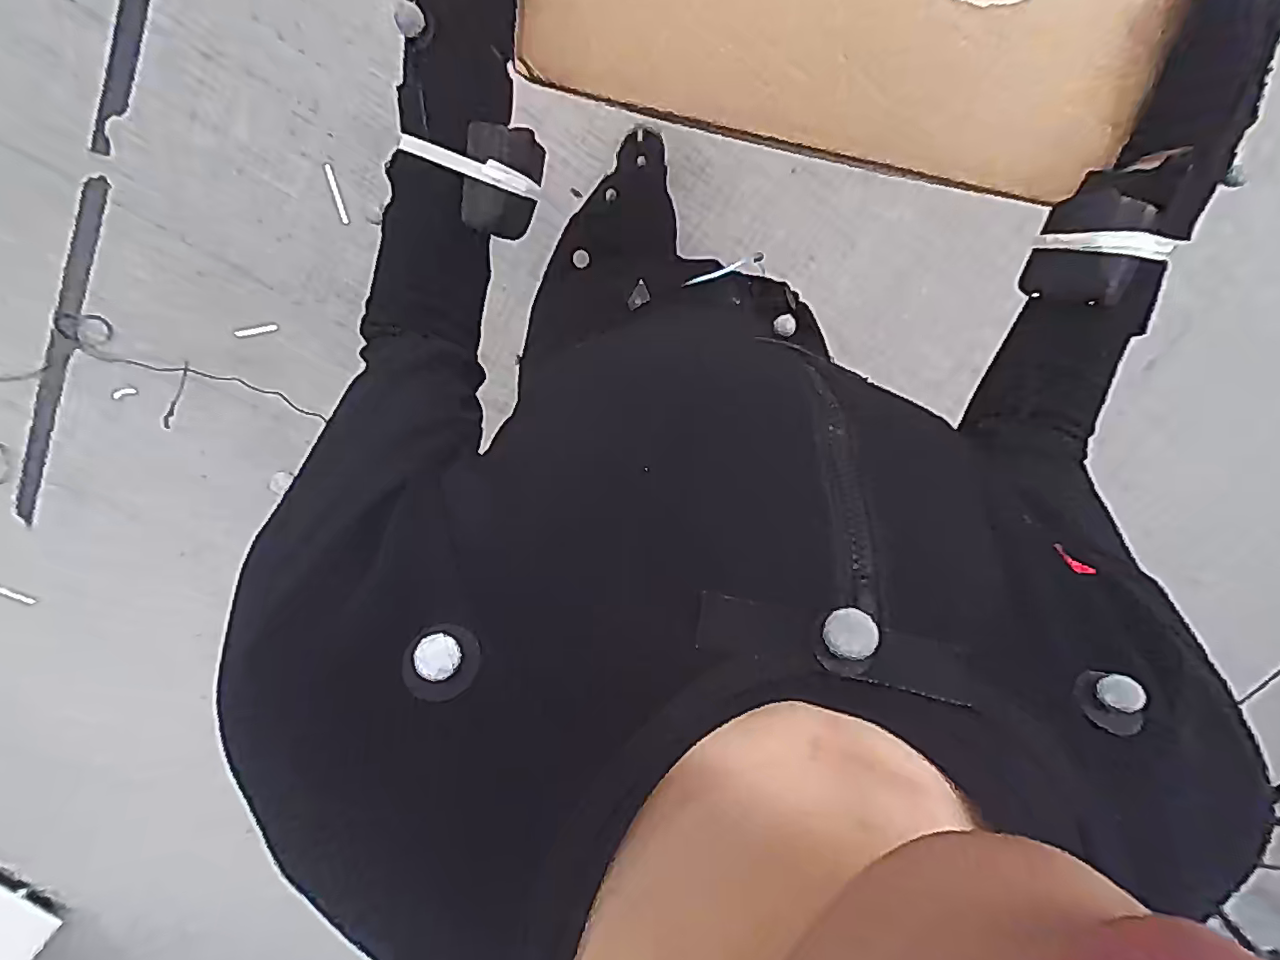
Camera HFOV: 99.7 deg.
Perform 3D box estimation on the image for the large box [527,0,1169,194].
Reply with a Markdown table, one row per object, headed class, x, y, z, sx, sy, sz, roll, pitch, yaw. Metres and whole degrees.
| class | x | y | z | sx | sy | sz | roll | pitch | yaw |
| --- | --- | --- | --- | --- | --- | --- | --- | --- | --- |
| large box | 0.143 | -0.446 | 0.422 | 0.408 | 0.320 | 0.320 | 9 | 124 | -7 |
